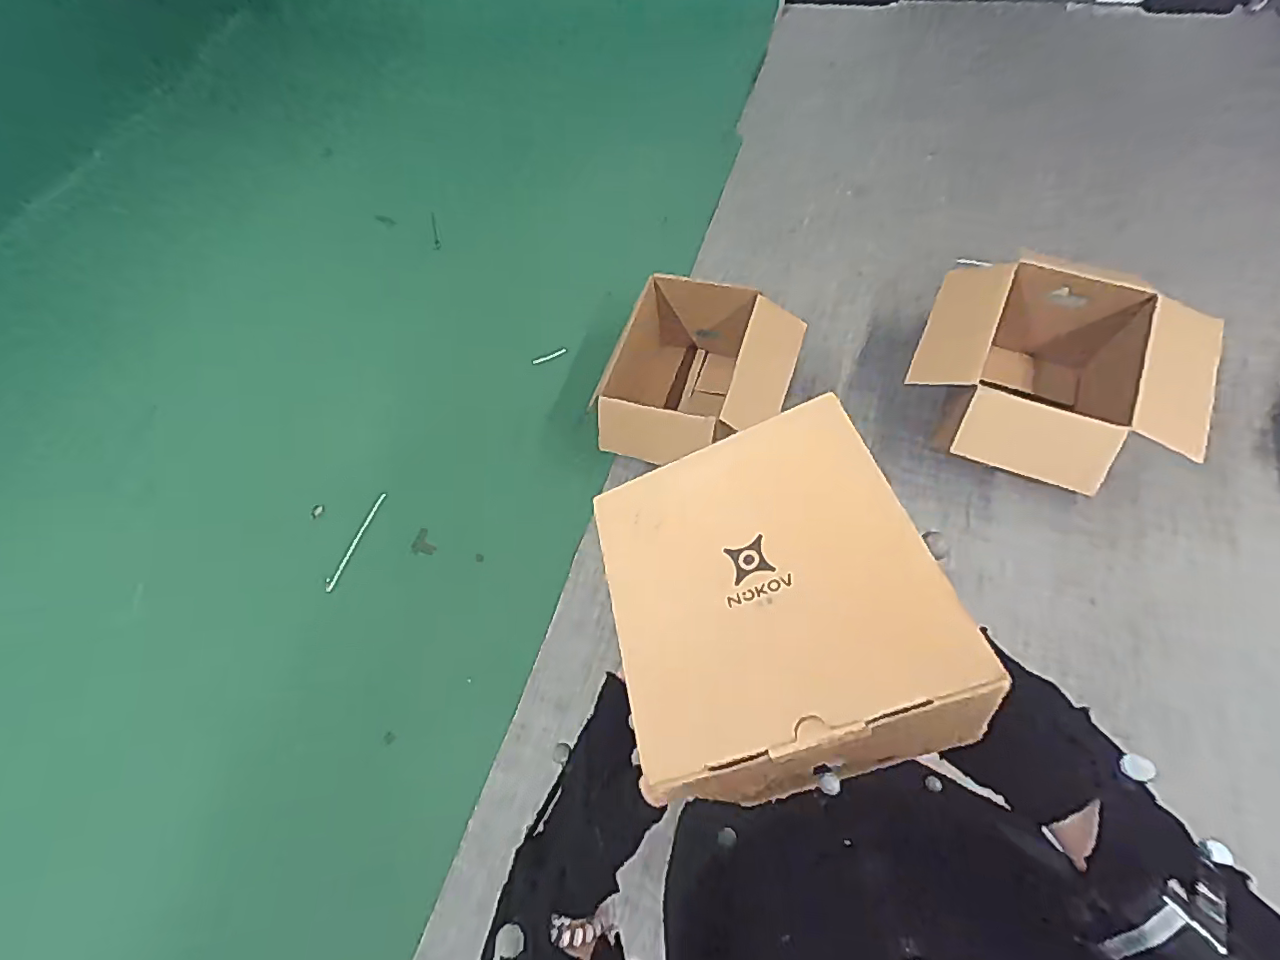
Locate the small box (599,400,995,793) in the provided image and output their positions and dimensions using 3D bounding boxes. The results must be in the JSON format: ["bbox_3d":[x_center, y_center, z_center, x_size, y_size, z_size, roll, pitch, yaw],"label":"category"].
[{"bbox_3d":[0.093,0.087,0.357,0.168,0.176,0.179,-25,53,13],"label":"small box"}]
